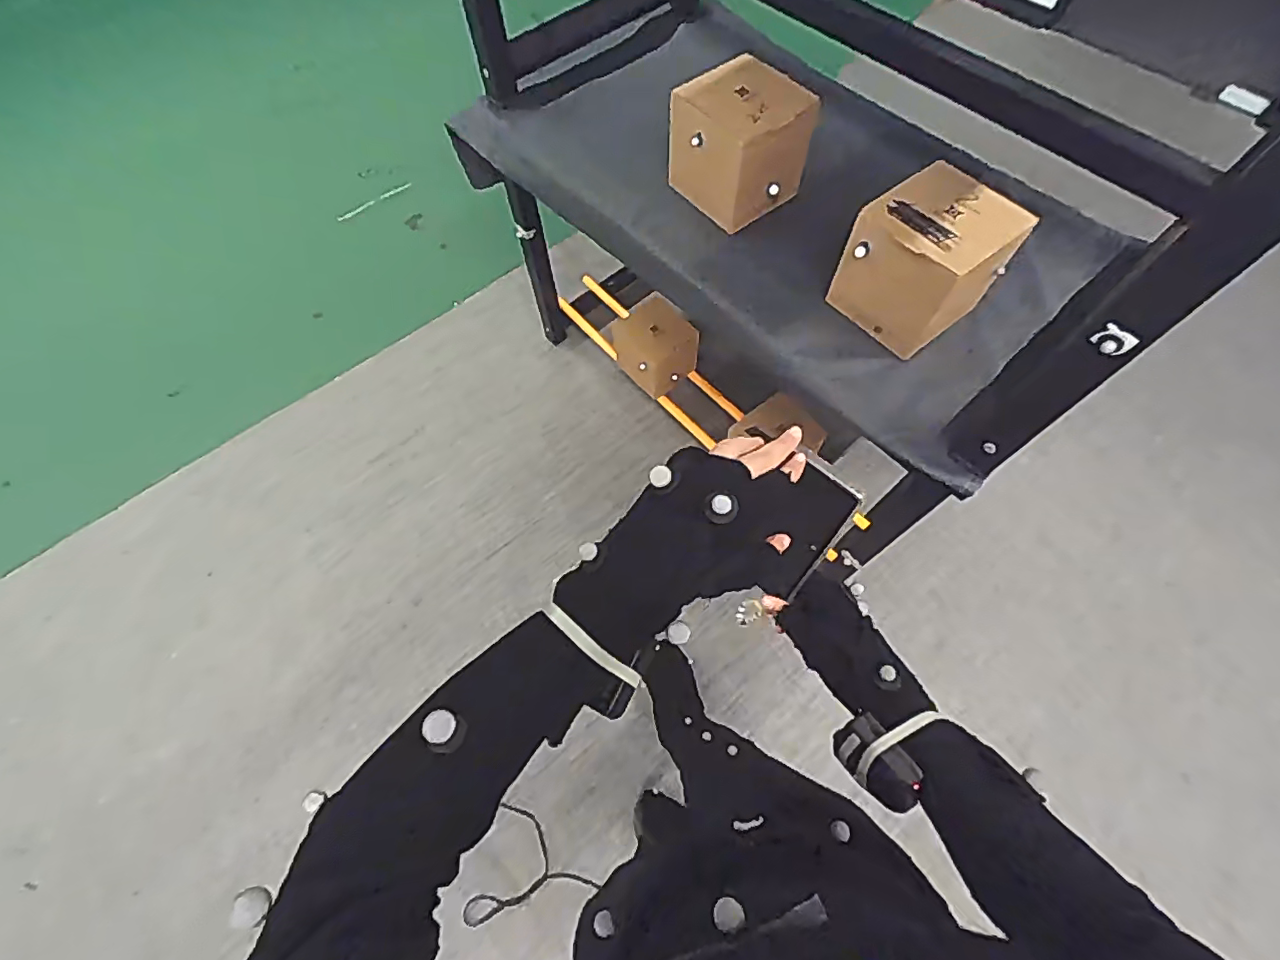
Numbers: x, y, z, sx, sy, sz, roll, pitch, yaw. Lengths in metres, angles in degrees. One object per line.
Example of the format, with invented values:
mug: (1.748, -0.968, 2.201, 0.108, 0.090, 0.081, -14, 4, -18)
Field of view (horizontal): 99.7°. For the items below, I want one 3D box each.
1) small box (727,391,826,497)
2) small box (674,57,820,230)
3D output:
small box: (0.339, -0.085, 1.386, 0.179, 0.176, 0.168, -36, 69, -14)
small box: (0.170, -0.574, 0.932, 0.168, 0.176, 0.179, -36, 69, -14)
